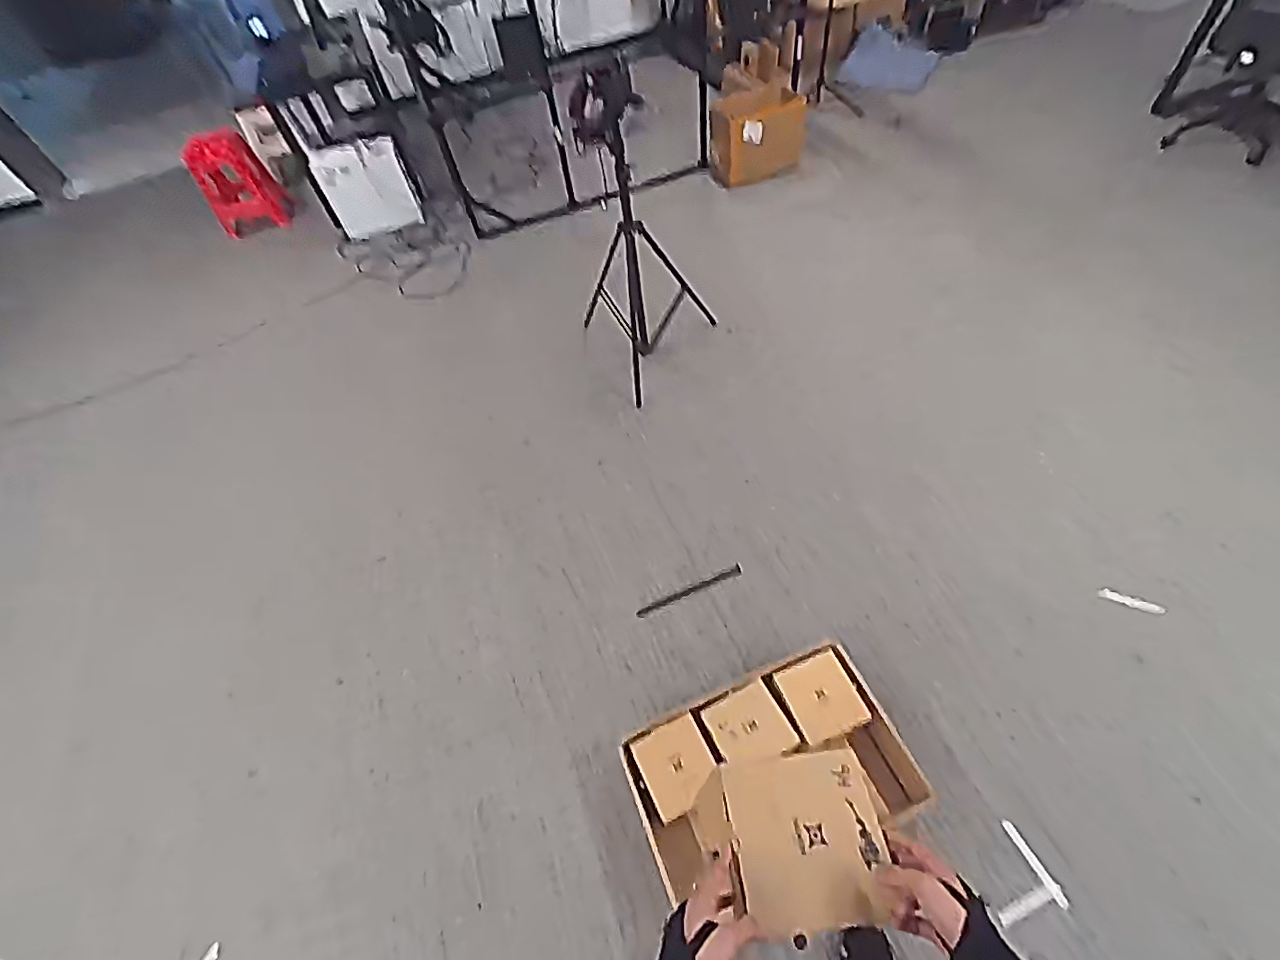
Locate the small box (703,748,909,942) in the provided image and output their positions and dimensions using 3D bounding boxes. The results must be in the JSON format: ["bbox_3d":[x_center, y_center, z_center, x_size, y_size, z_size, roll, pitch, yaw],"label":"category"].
[{"bbox_3d":[0.178,0.442,0.655,0.179,0.176,0.168,-2,50,-7],"label":"small box"}]
